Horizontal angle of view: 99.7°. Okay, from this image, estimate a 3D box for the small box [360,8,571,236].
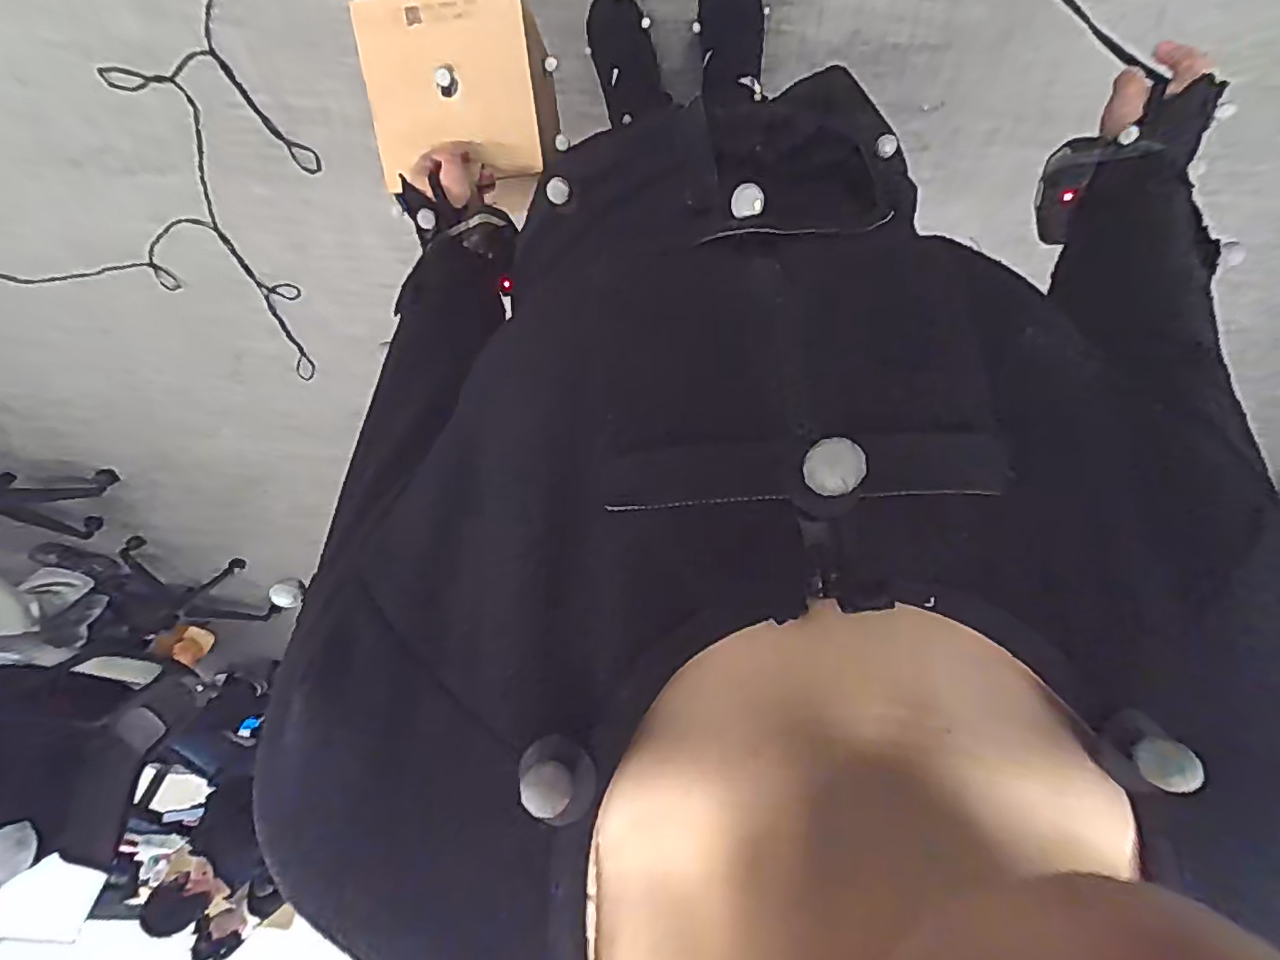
[{"bbox_3d":[-0.184,-0.395,0.615,0.168,0.179,0.176,-7,105,4],"label":"small box"}]
